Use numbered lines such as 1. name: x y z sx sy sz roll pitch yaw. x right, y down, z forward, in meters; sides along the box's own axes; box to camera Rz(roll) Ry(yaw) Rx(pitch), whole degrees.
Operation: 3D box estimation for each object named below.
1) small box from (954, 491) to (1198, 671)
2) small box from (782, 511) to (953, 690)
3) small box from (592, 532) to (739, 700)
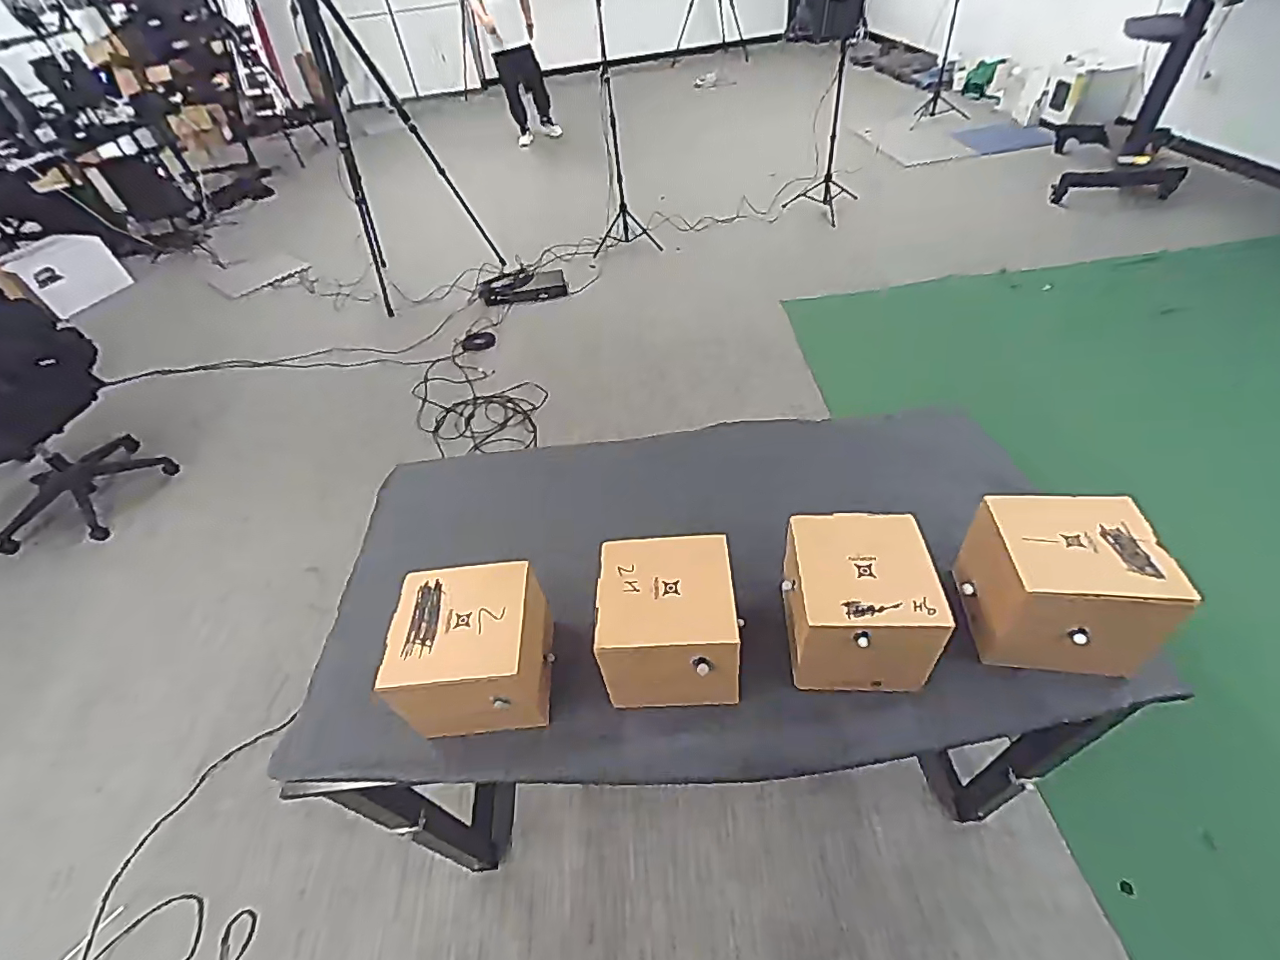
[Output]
1. small box: 0.548 0.134 0.715 0.179 0.176 0.168 1 43 12
2. small box: 0.289 0.161 0.736 0.168 0.176 0.179 -1 44 8
3. small box: 0.040 0.190 0.746 0.179 0.176 0.168 -4 45 6
